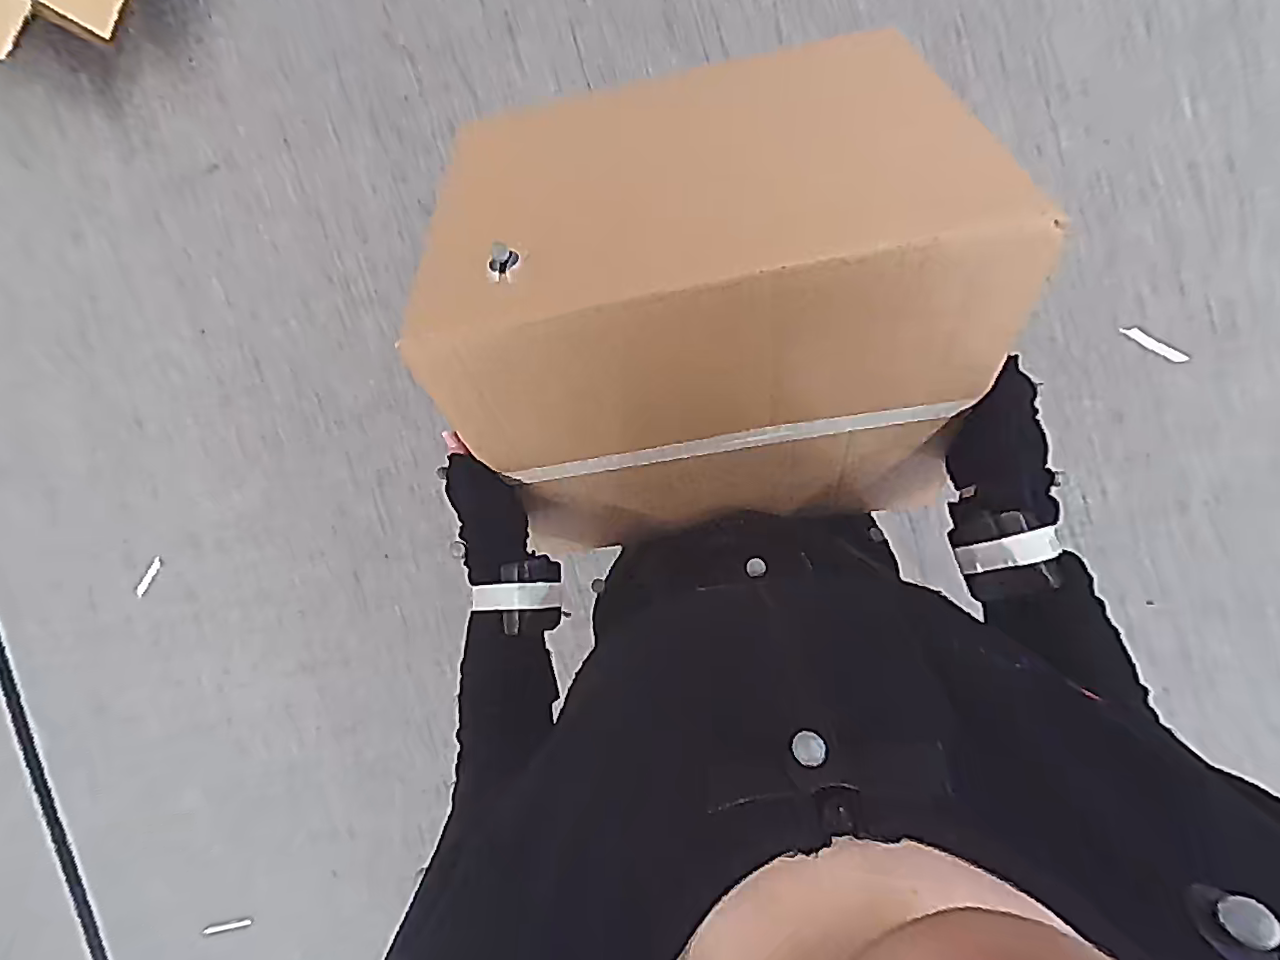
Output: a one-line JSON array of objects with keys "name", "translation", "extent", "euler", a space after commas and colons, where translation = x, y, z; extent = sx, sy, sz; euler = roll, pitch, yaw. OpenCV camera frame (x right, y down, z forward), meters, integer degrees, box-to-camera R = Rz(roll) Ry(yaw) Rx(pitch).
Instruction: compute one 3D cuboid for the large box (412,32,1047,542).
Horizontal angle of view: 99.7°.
[{"name": "large box", "translation": [0.058, -0.166, 0.538], "extent": [0.408, 0.320, 0.320], "euler": [-8, 56, 6]}]
